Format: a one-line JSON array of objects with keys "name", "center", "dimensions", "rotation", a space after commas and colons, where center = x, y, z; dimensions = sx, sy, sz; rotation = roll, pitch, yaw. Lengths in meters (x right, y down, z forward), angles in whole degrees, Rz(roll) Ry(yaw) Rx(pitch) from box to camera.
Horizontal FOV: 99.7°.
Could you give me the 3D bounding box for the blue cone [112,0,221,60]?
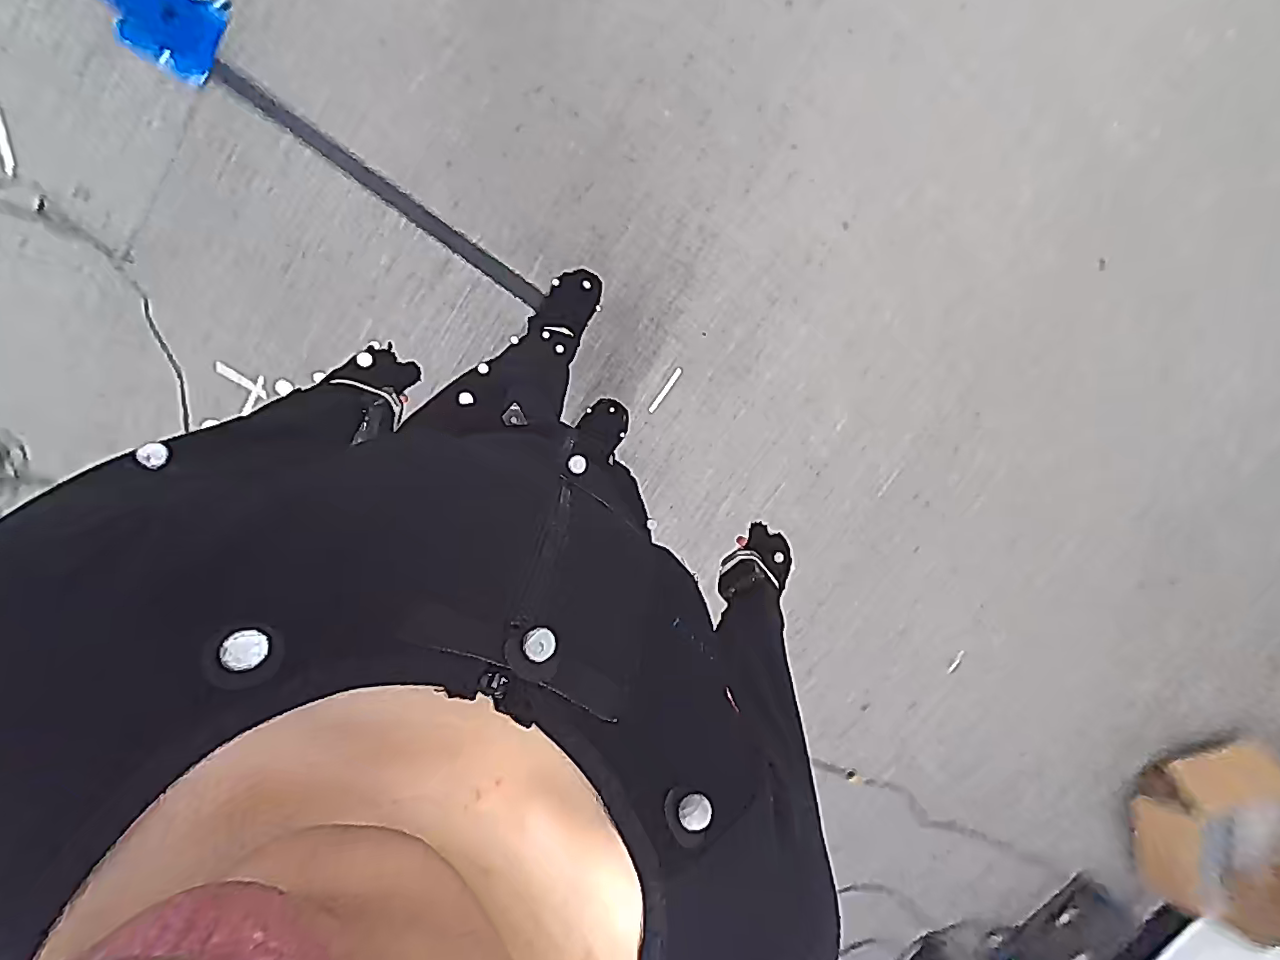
[{"name": "blue cone", "center": [-1.020, -1.007, 1.019], "dimensions": [0.193, 0.380, 0.192], "rotation": [31, 99, -10]}]
